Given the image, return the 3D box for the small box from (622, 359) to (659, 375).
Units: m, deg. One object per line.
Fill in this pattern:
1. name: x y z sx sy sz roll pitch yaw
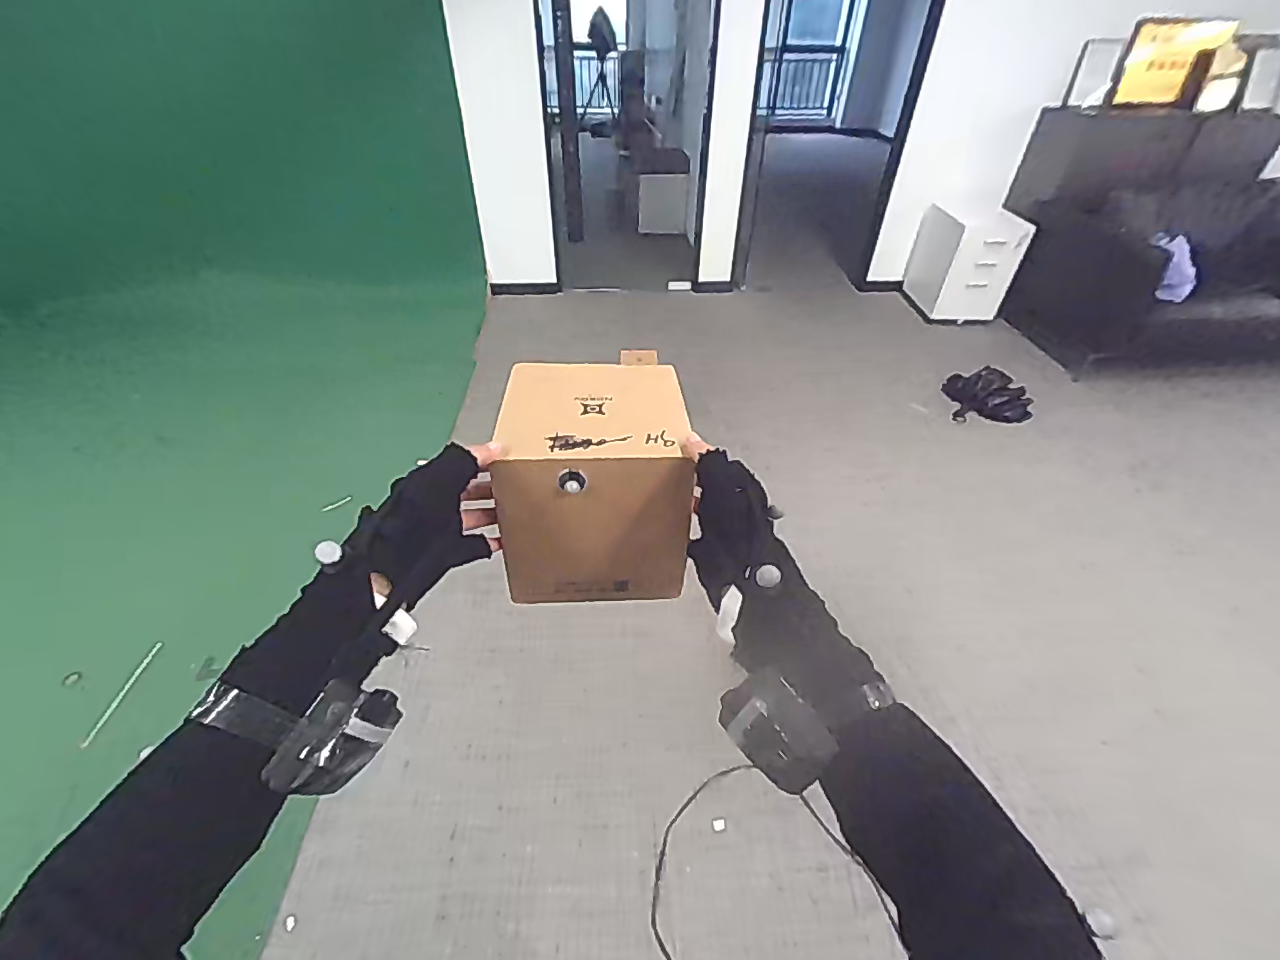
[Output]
1. small box: 0.002 -0.435 2.464 0.168 0.176 0.179 -2 41 -1

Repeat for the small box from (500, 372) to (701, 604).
1. small box: -0.038 0.003 0.546 0.168 0.176 0.179 -1 35 -4
